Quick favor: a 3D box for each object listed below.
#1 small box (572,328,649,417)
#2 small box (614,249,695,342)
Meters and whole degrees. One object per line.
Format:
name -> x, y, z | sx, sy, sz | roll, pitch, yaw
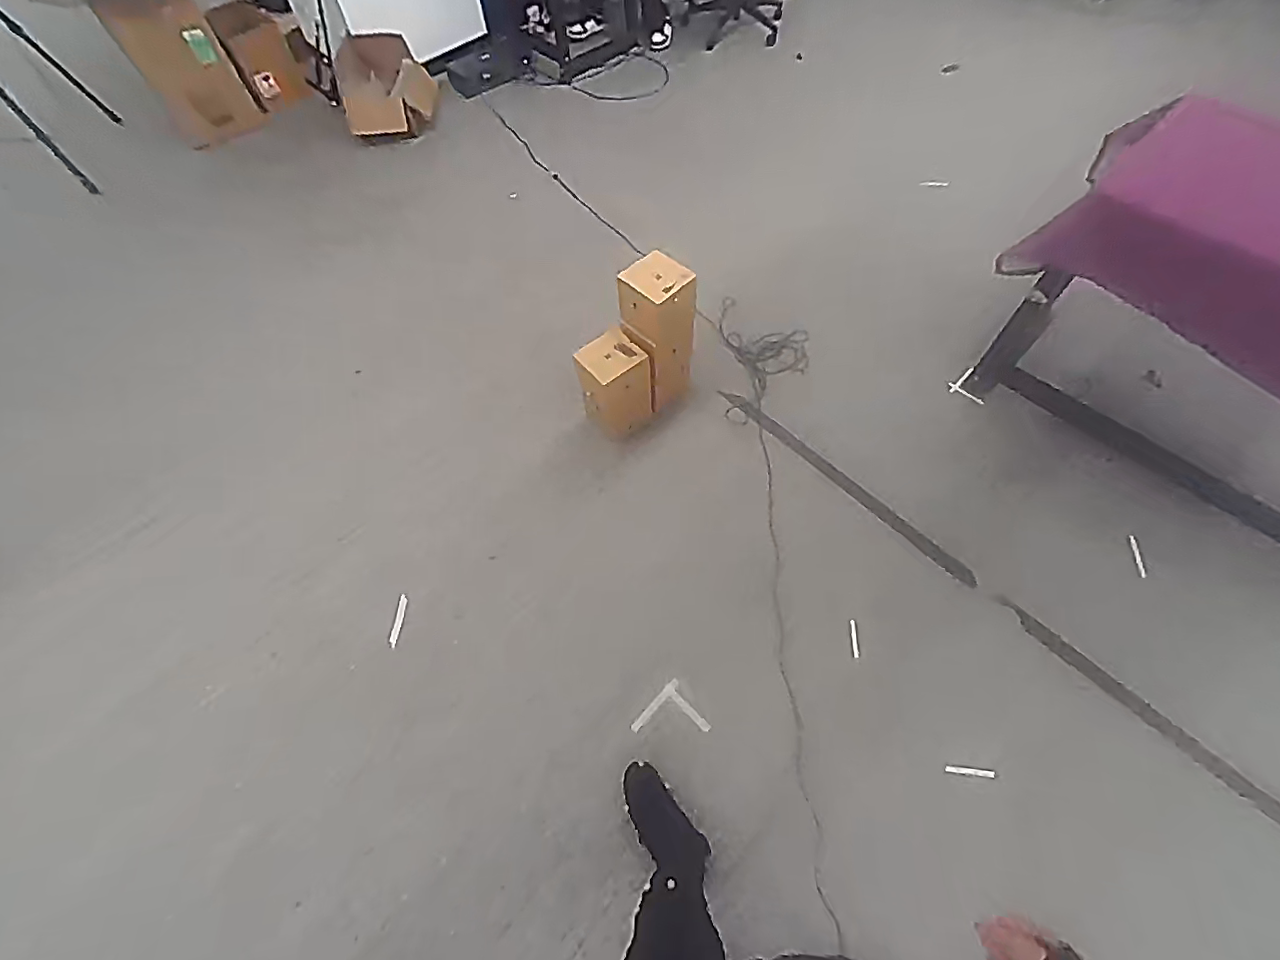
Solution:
small box -> -0.087, -0.336, 1.698 | 0.179, 0.176, 0.168 | -37, 65, -14
small box -> 0.047, -0.547, 1.618 | 0.168, 0.176, 0.179 | -42, 65, -17
